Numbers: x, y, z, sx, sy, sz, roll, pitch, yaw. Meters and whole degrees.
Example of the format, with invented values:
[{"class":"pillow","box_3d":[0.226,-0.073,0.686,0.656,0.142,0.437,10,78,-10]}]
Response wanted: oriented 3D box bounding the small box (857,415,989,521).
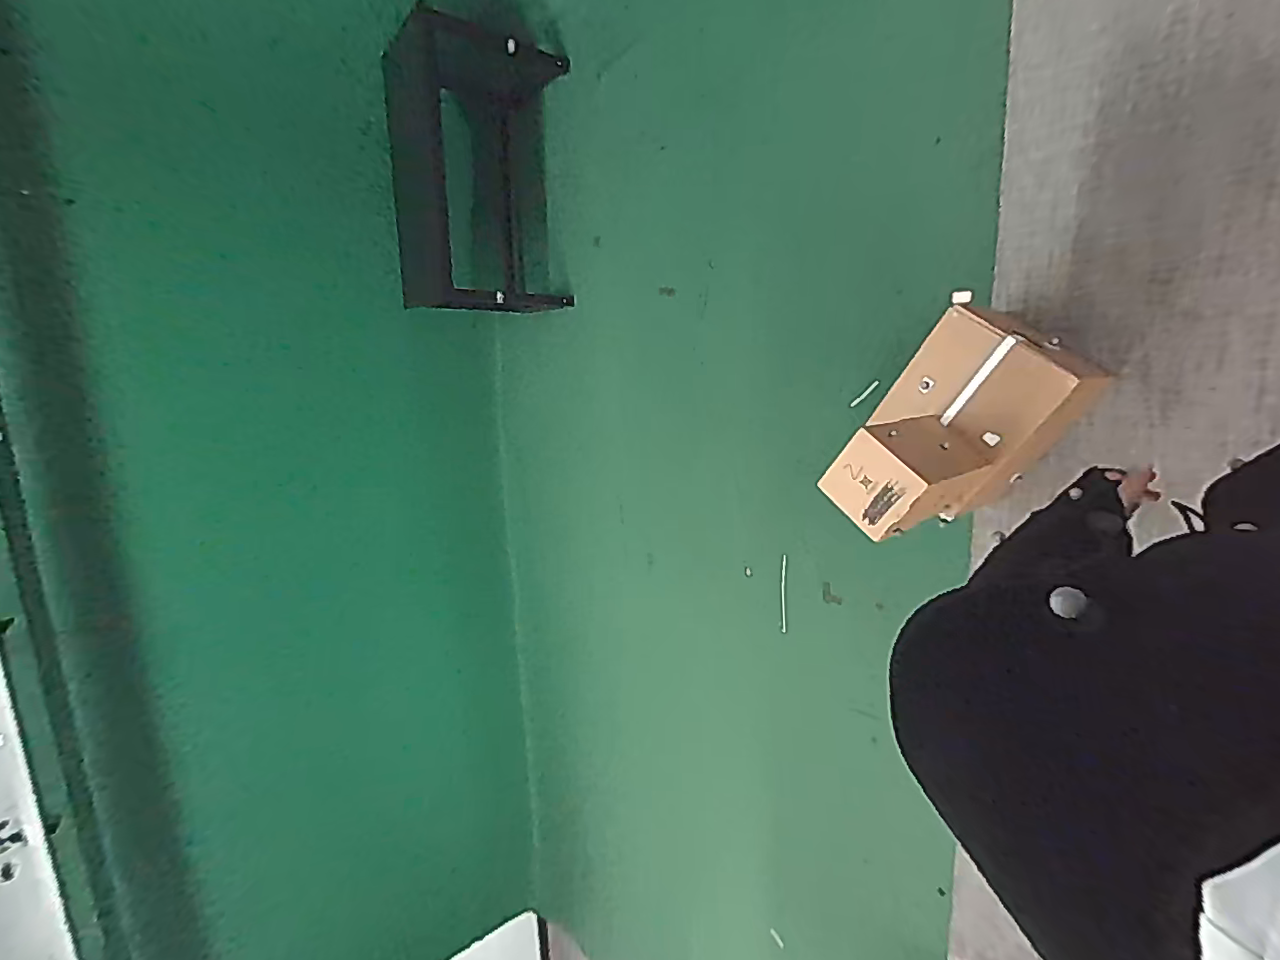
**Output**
[{"class":"small box","box_3d":[0.646,-0.035,1.234,0.179,0.176,0.168,54,134,29]}]
